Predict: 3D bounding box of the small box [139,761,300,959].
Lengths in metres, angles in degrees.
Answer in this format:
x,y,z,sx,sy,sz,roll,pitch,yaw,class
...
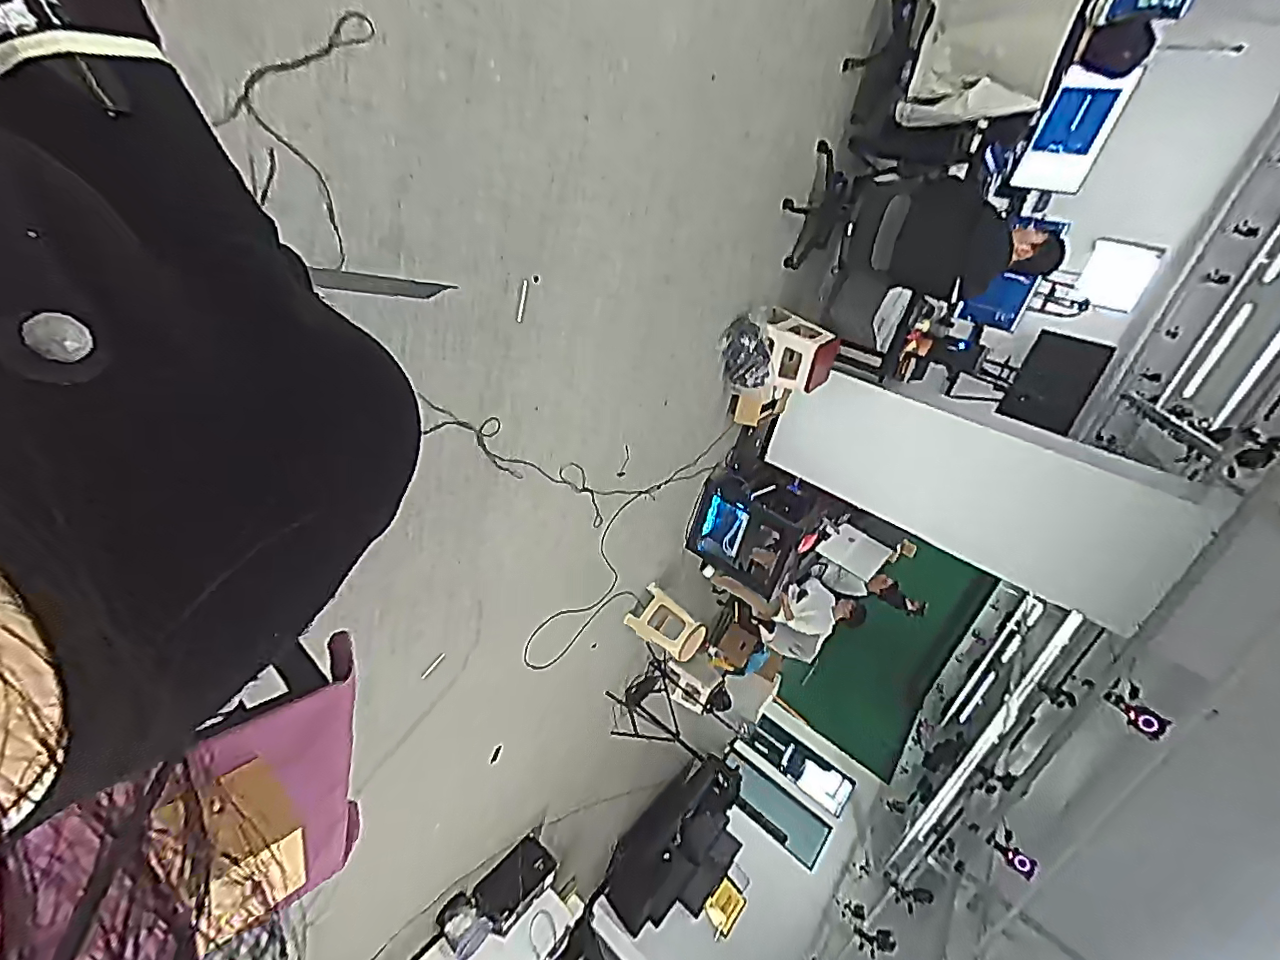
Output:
x,y,z,sx,sy,sz,roll,pitch,yaw,class
-0.692,0.618,0.899,0.168,0.176,0.179,-20,133,-50,small box
